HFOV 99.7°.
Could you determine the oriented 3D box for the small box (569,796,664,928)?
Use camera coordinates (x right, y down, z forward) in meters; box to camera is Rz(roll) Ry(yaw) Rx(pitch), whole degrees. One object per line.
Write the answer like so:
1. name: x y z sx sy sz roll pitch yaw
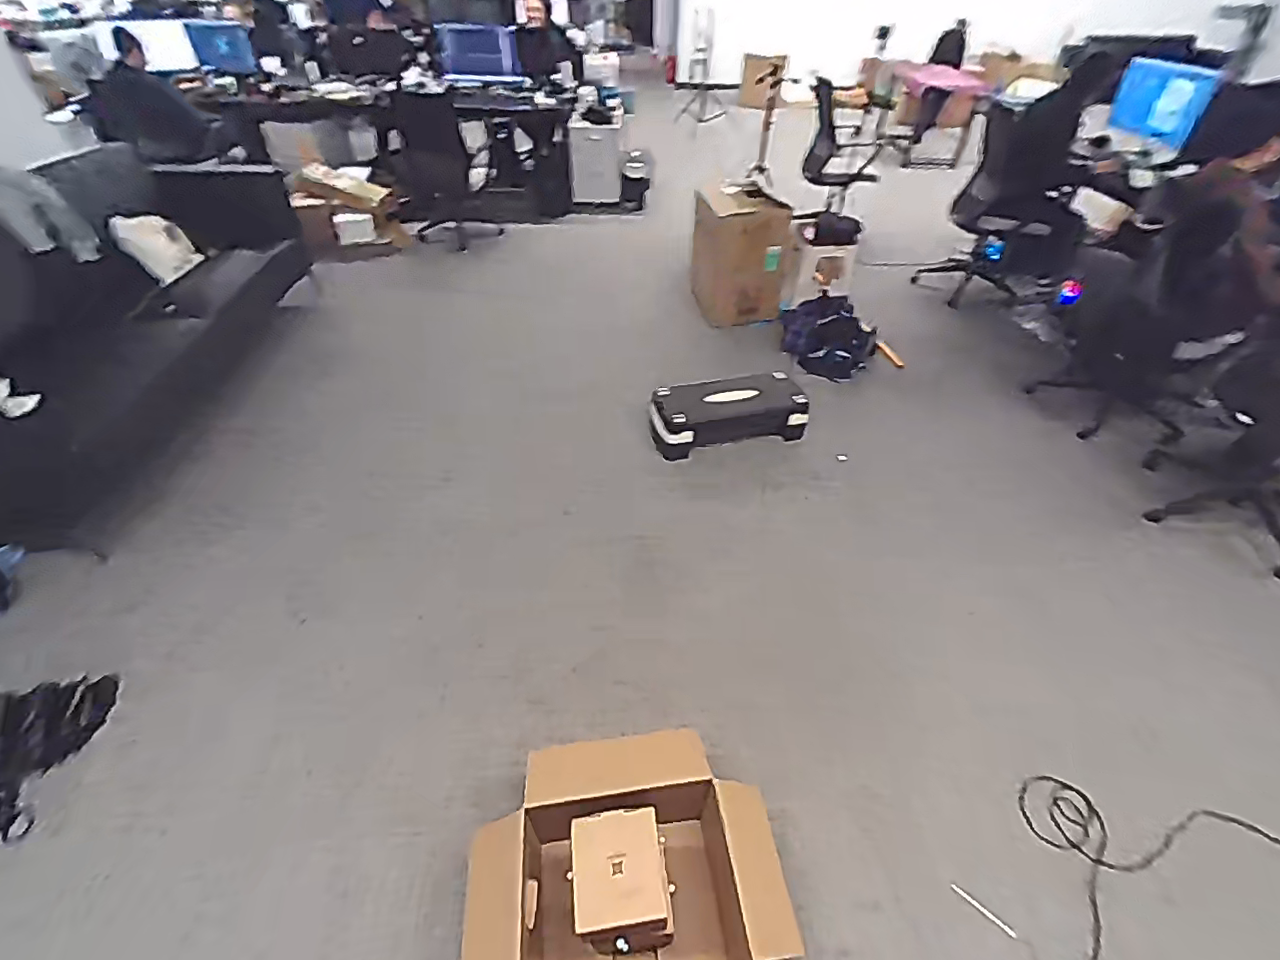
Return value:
1. small box: -0.049 0.752 1.065 0.168 0.176 0.179 -6 46 -5
